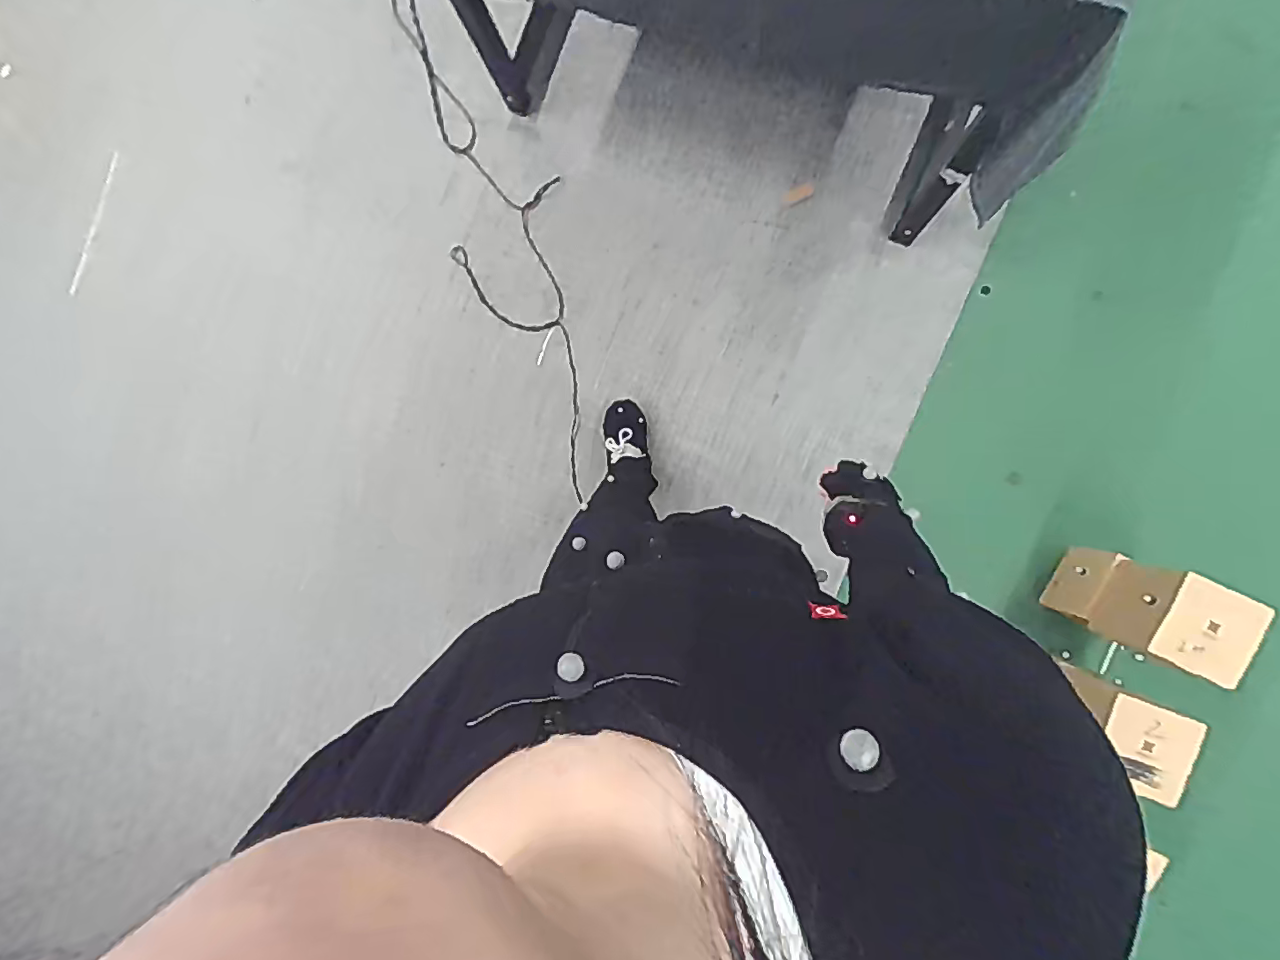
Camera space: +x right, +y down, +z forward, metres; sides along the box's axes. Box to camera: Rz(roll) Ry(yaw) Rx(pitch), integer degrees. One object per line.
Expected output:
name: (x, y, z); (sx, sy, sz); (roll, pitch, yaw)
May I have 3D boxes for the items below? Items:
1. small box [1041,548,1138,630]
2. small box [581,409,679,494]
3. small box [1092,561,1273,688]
small box: (1.098, 0.270, 1.265); (0.179, 0.176, 0.168); (28, 92, 6)
small box: (-0.032, -0.077, 1.417); (0.179, 0.176, 0.168); (33, 108, 23)
small box: (1.084, 0.281, 1.101); (0.168, 0.176, 0.179); (27, 92, 6)
